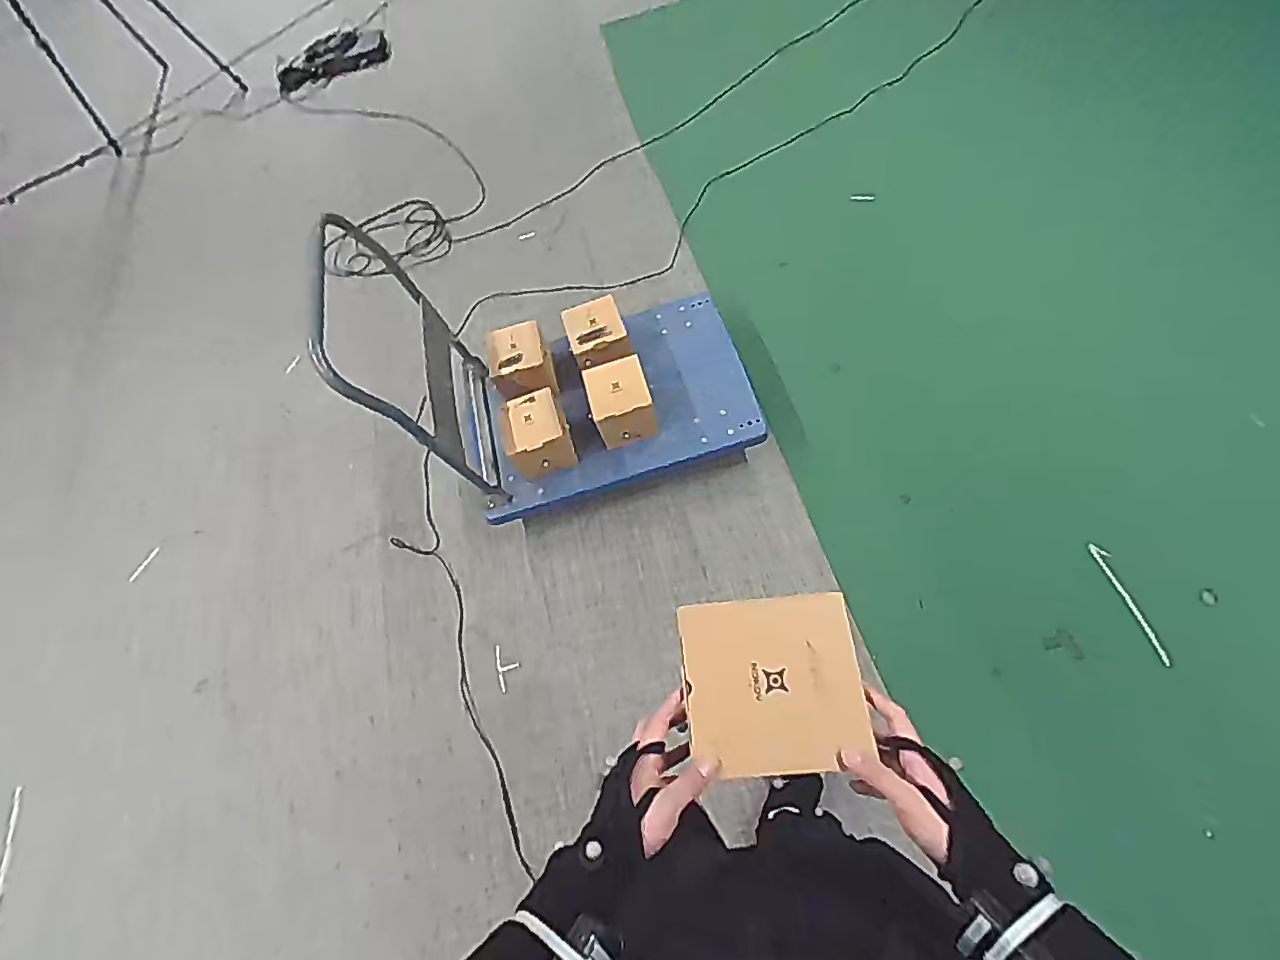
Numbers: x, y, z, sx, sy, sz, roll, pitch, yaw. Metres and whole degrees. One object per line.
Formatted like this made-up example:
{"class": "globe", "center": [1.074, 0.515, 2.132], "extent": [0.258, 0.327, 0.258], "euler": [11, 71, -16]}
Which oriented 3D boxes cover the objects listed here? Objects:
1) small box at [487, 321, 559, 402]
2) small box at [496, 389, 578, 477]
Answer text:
{"class": "small box", "center": [-0.357, -0.352, 1.668], "extent": [0.168, 0.176, 0.179], "euler": [-15, 63, 3]}
{"class": "small box", "center": [-0.291, -0.126, 1.552], "extent": [0.168, 0.176, 0.179], "euler": [-19, 64, 1]}
